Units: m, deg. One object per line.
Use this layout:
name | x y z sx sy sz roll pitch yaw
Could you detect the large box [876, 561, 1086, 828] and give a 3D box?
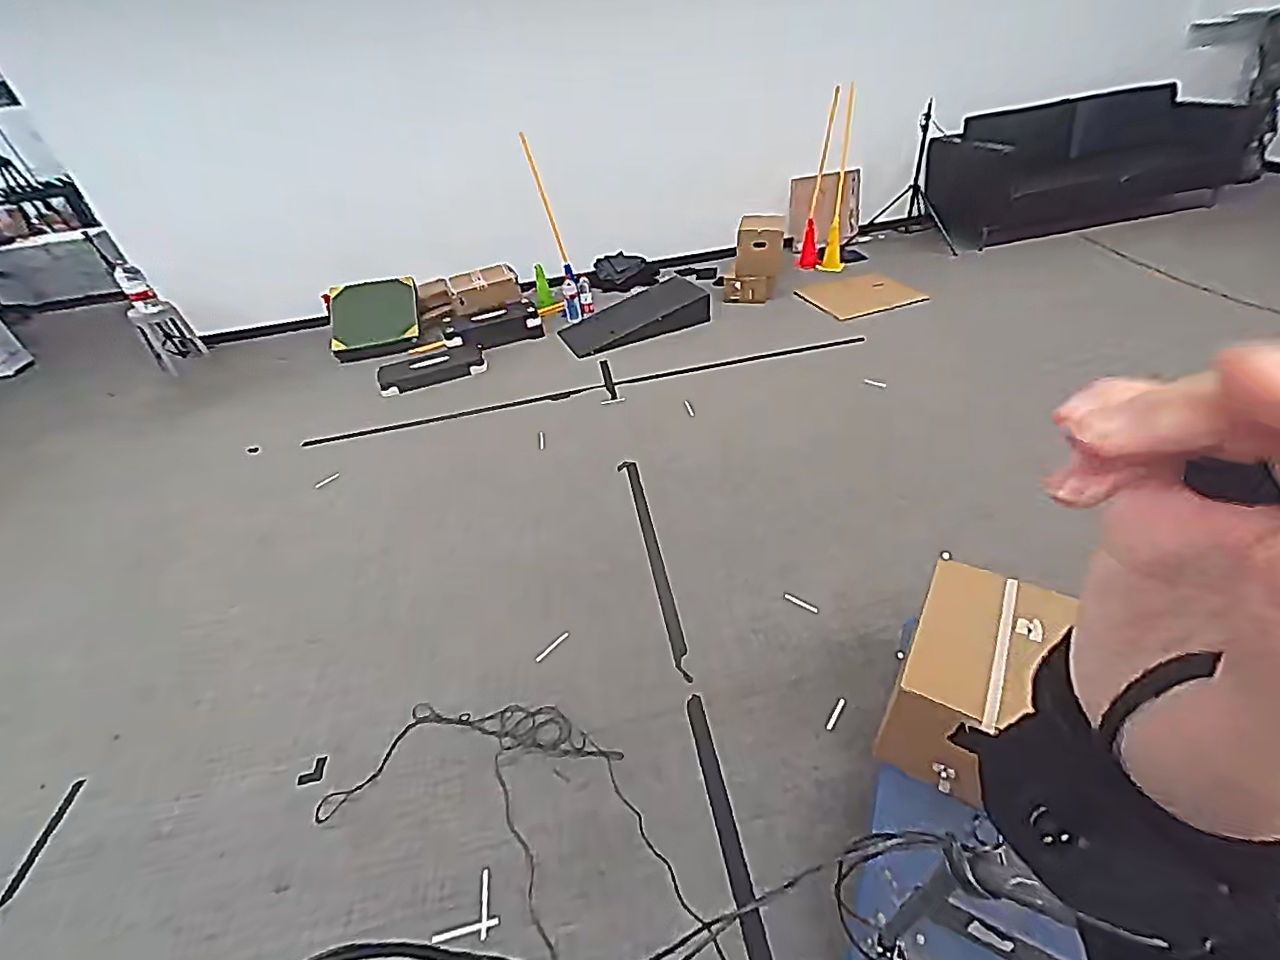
large box | 0.763 0.467 1.228 0.320 0.320 0.408 19 45 27
